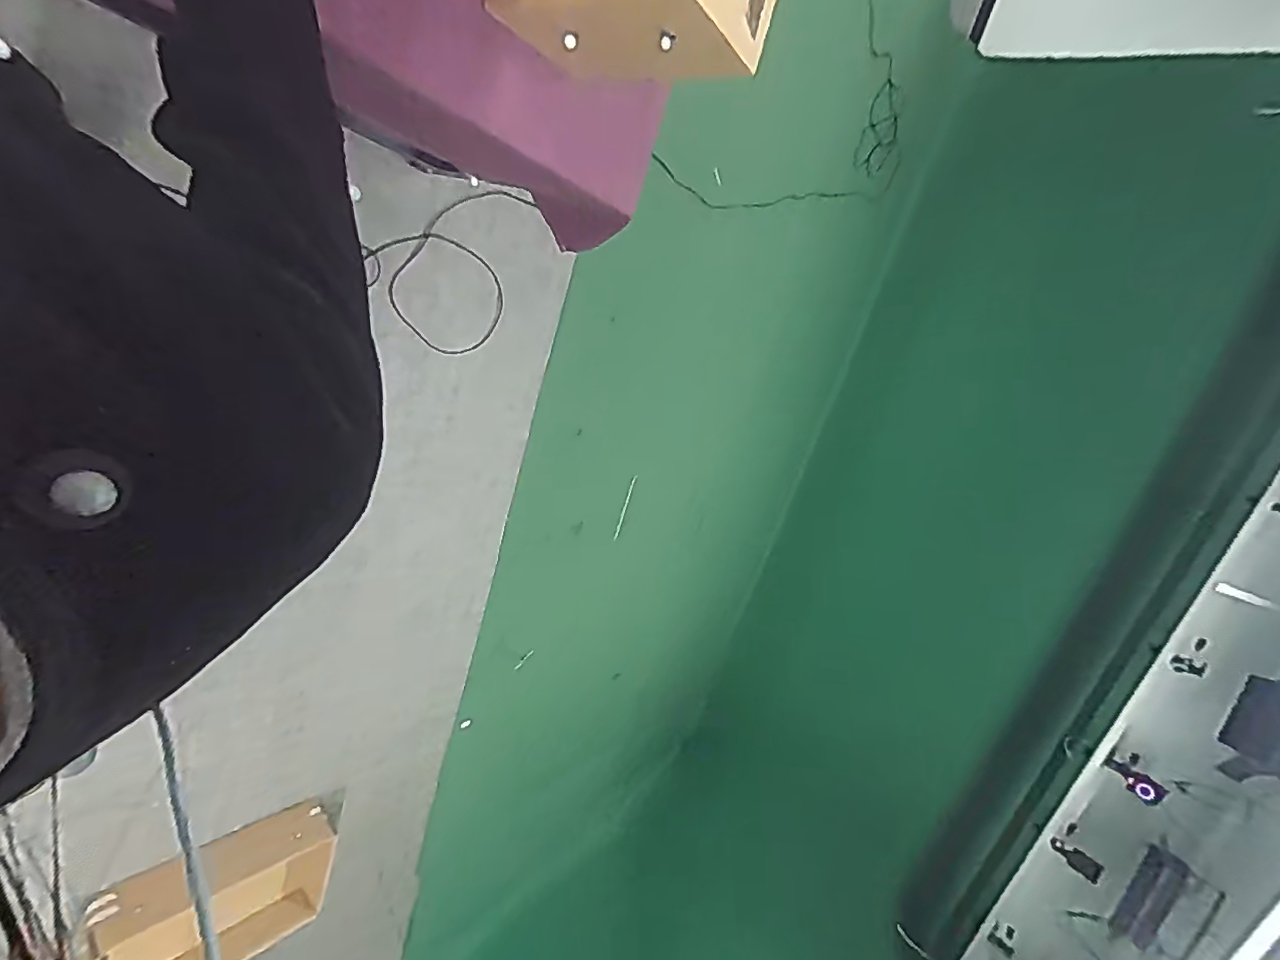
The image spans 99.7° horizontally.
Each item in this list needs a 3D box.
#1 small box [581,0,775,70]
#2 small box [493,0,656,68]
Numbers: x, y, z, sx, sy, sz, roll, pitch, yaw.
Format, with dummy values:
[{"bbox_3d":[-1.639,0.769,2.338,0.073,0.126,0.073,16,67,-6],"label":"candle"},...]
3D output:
[{"bbox_3d":[0.052,-0.609,0.622,0.179,0.176,0.168,-4,115,-52],"label":"small box"},{"bbox_3d":[-0.070,-0.674,0.711,0.179,0.176,0.168,-6,117,-51],"label":"small box"}]
